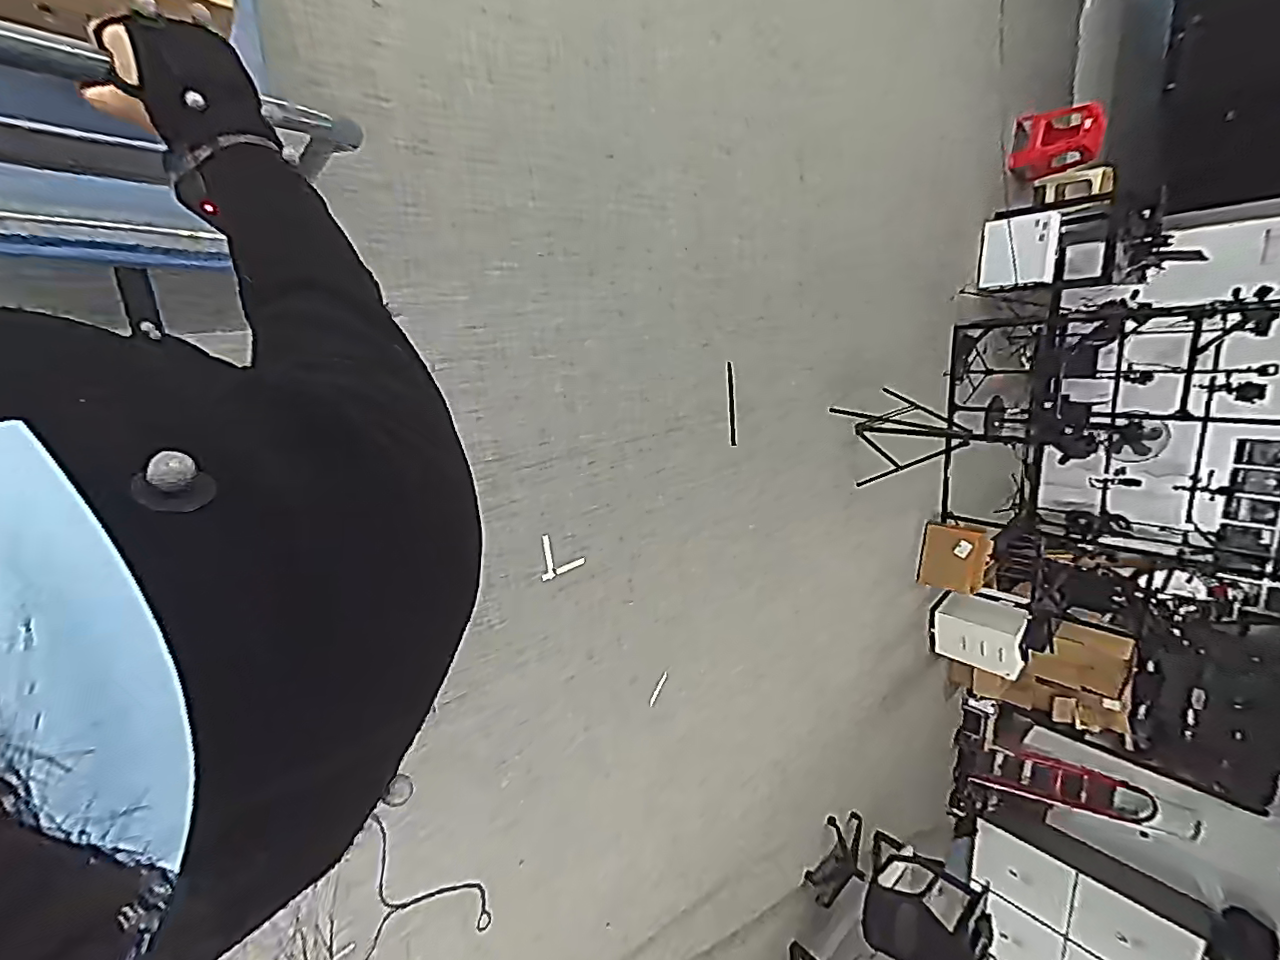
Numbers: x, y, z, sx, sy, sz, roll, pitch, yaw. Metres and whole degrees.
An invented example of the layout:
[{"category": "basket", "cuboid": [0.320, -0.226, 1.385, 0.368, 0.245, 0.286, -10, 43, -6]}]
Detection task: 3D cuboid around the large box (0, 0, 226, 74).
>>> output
[{"category": "large box", "cuboid": [-0.835, -0.825, 0.719, 0.408, 0.320, 0.320, -11, 105, -39]}]
